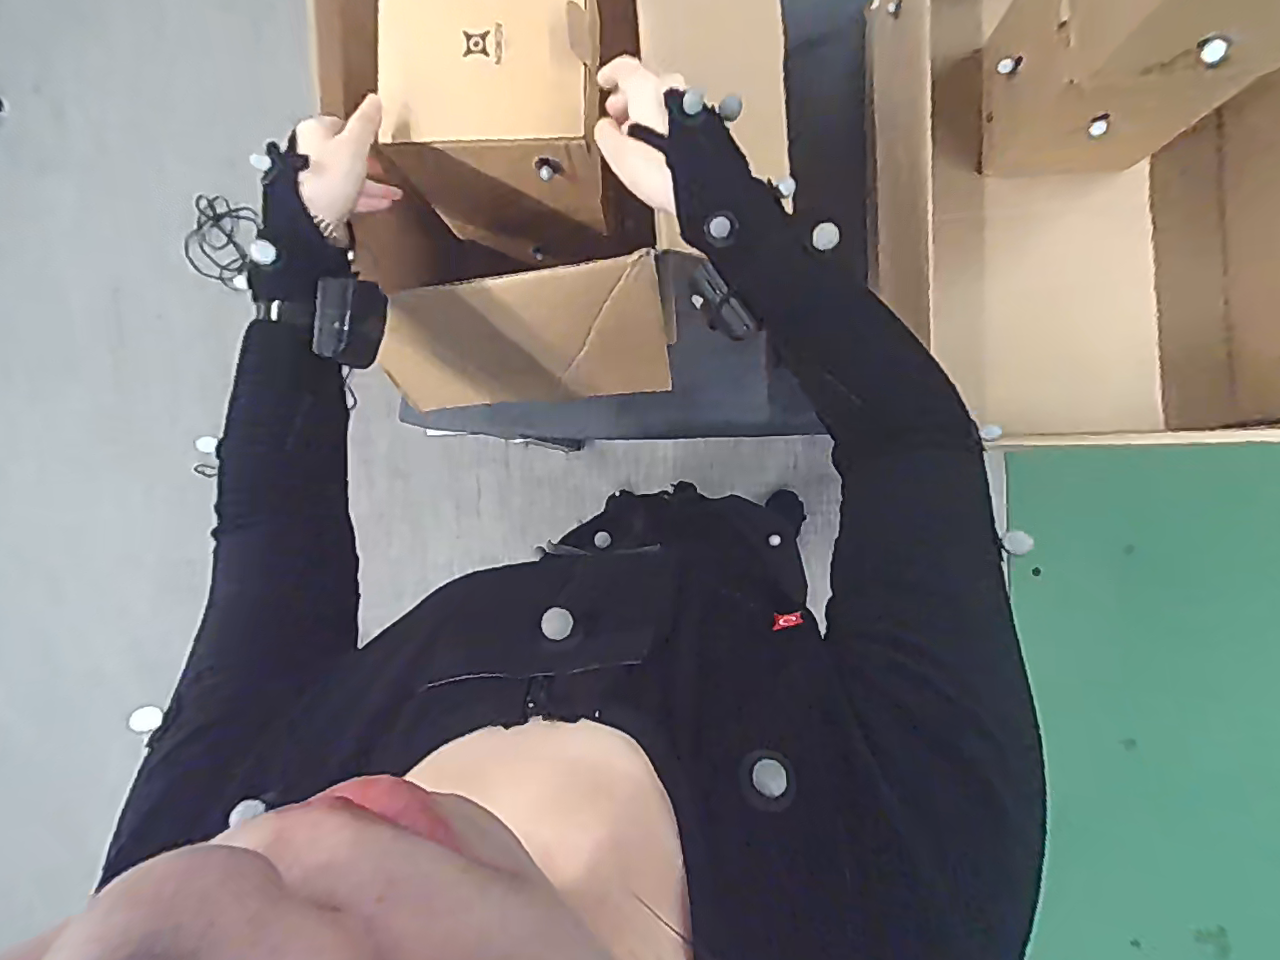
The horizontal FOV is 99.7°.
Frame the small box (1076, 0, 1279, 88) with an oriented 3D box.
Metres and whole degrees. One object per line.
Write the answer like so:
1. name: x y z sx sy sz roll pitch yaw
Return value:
1. small box: 0.482 -0.455 0.421 0.168 0.176 0.179 -1 91 7
